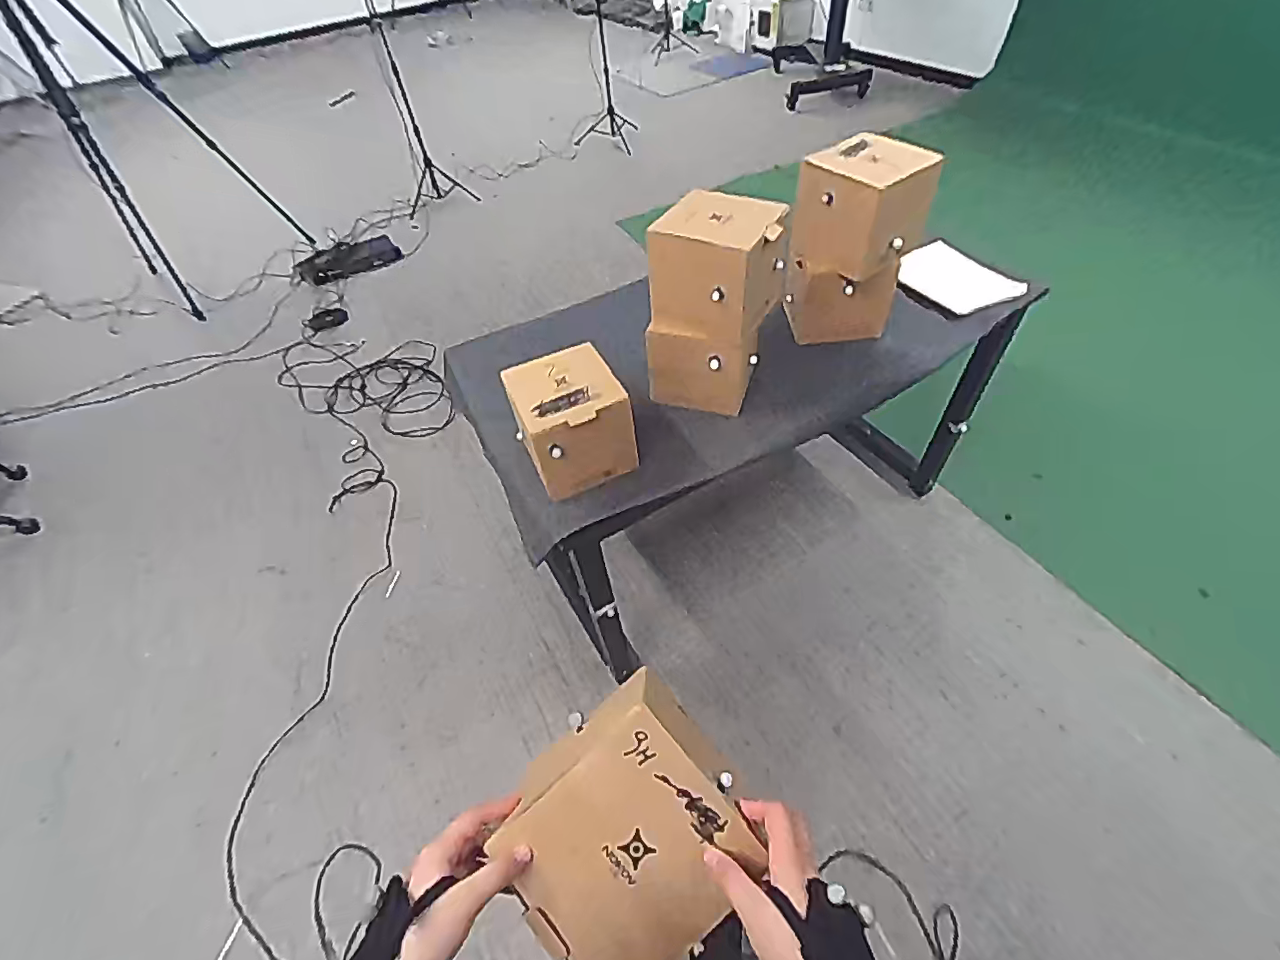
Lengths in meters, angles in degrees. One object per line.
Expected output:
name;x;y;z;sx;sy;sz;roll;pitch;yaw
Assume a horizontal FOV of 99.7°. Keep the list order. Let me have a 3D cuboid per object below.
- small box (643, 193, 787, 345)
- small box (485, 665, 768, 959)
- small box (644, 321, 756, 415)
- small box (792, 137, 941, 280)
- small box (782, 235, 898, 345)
small box;0.125;-0.351;0.907;0.179;0.176;0.168;22;55;23
small box;-0.008;0.307;0.515;0.179;0.176;0.168;-41;82;-4
small box;0.120;-0.245;1.031;0.179;0.176;0.168;12;52;16
small box;0.403;-0.499;0.998;0.168;0.176;0.179;-32;54;-18
small box;0.407;-0.403;1.132;0.179;0.176;0.168;-5;50;3
